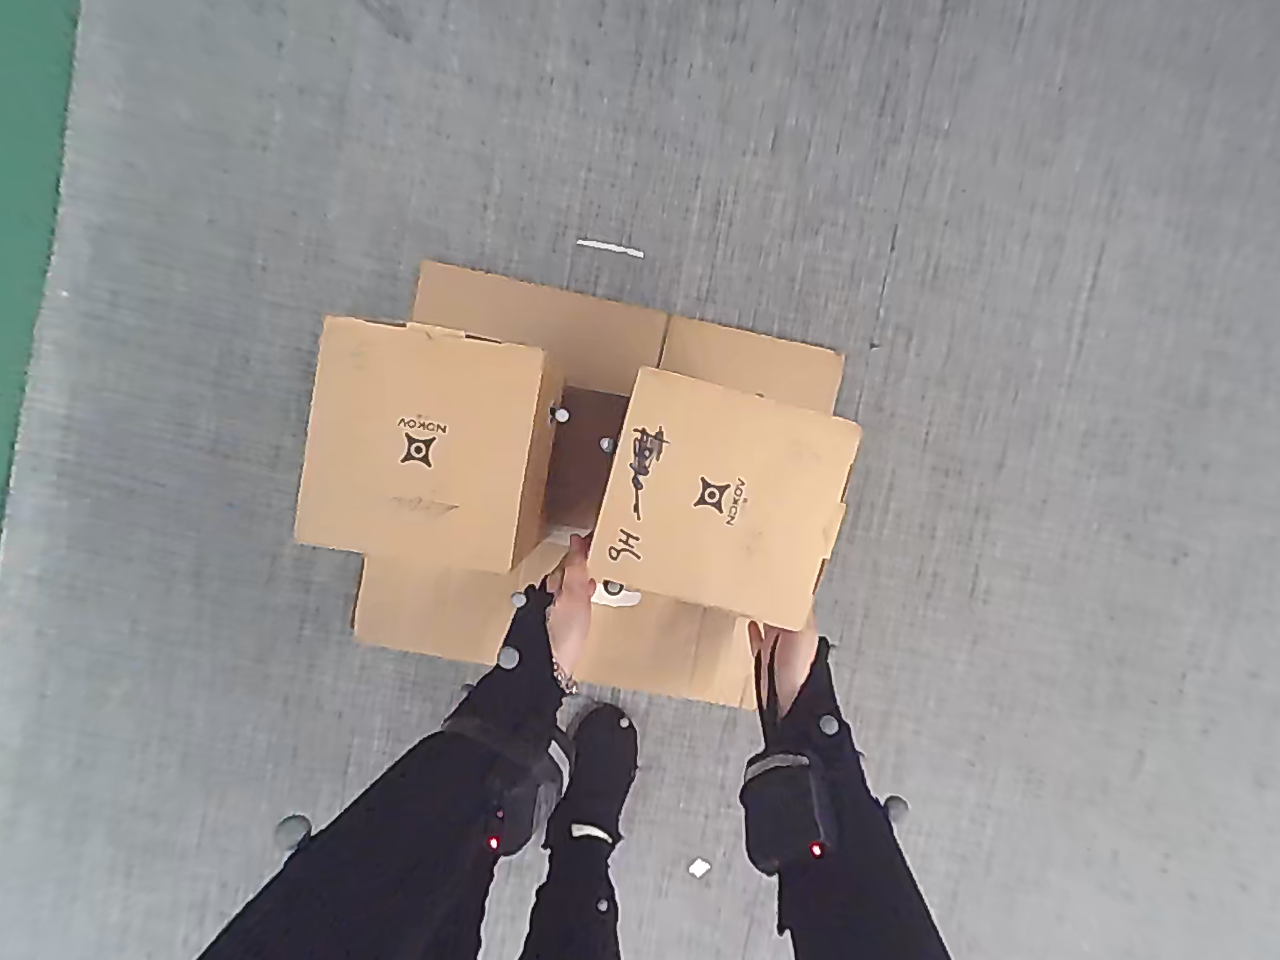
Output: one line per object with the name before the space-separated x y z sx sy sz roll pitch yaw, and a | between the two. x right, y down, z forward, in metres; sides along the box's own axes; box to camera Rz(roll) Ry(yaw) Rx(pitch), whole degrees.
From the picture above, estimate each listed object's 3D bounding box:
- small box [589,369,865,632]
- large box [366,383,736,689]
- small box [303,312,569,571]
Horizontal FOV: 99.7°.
small box | 0.065 0.014 0.489 0.179 0.176 0.168 16 91 -1
large box | -0.085 0.047 0.733 0.408 0.320 0.320 10 93 -3
small box | -0.161 -0.030 0.485 0.168 0.176 0.179 8 92 -1
